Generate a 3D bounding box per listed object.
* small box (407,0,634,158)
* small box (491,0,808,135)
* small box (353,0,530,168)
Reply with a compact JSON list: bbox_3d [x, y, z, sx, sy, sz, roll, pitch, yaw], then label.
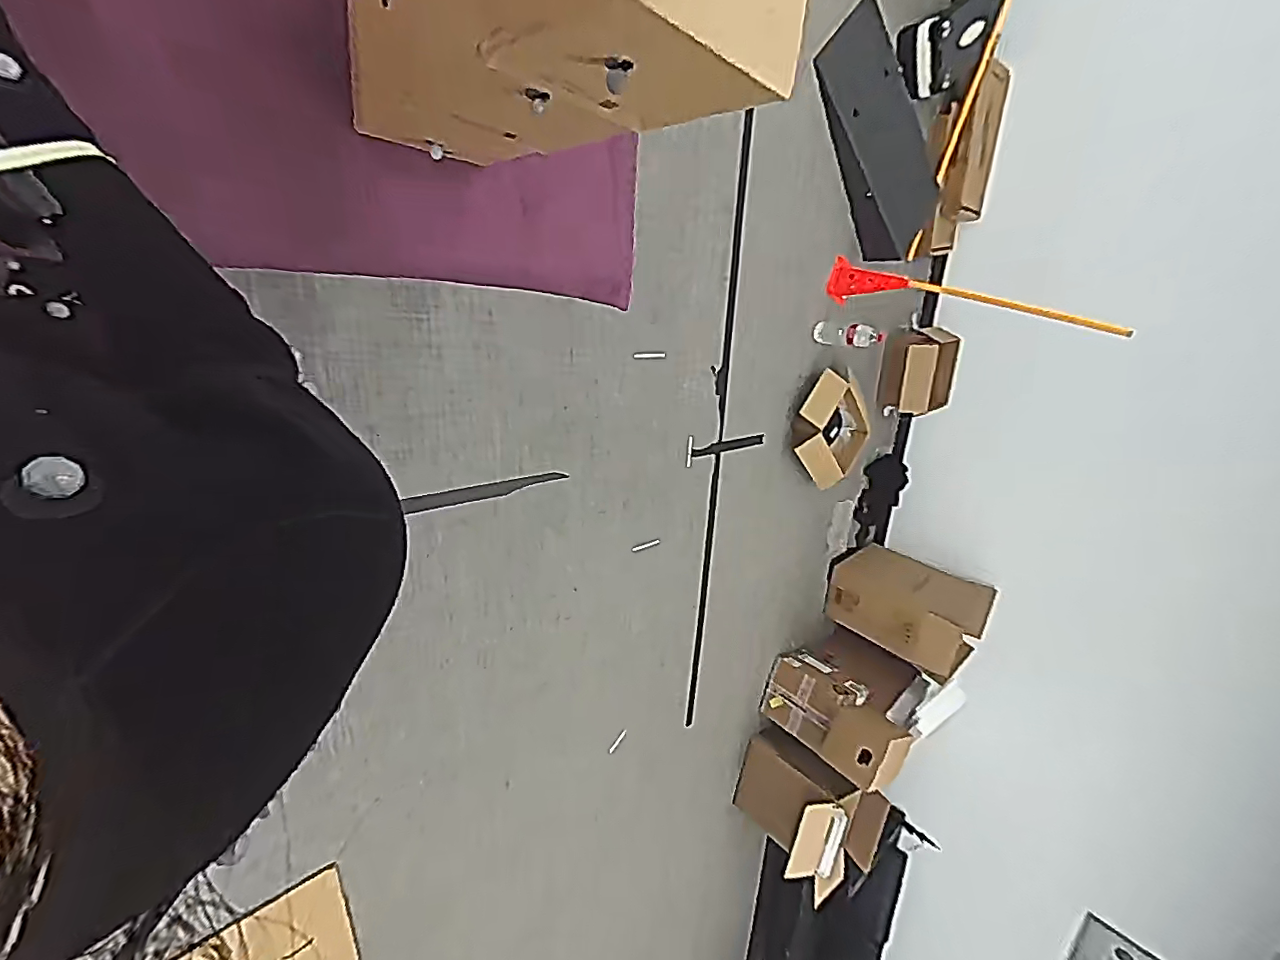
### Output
[{"bbox_3d":[-0.102,-0.424,0.494,0.168,0.176,0.179,-7,110,-41],"label":"small box"},{"bbox_3d":[0.006,-0.373,0.382,0.168,0.176,0.179,-7,110,-41],"label":"small box"},{"bbox_3d":[-0.210,-0.474,0.606,0.168,0.176,0.179,-10,113,-41],"label":"small box"}]
